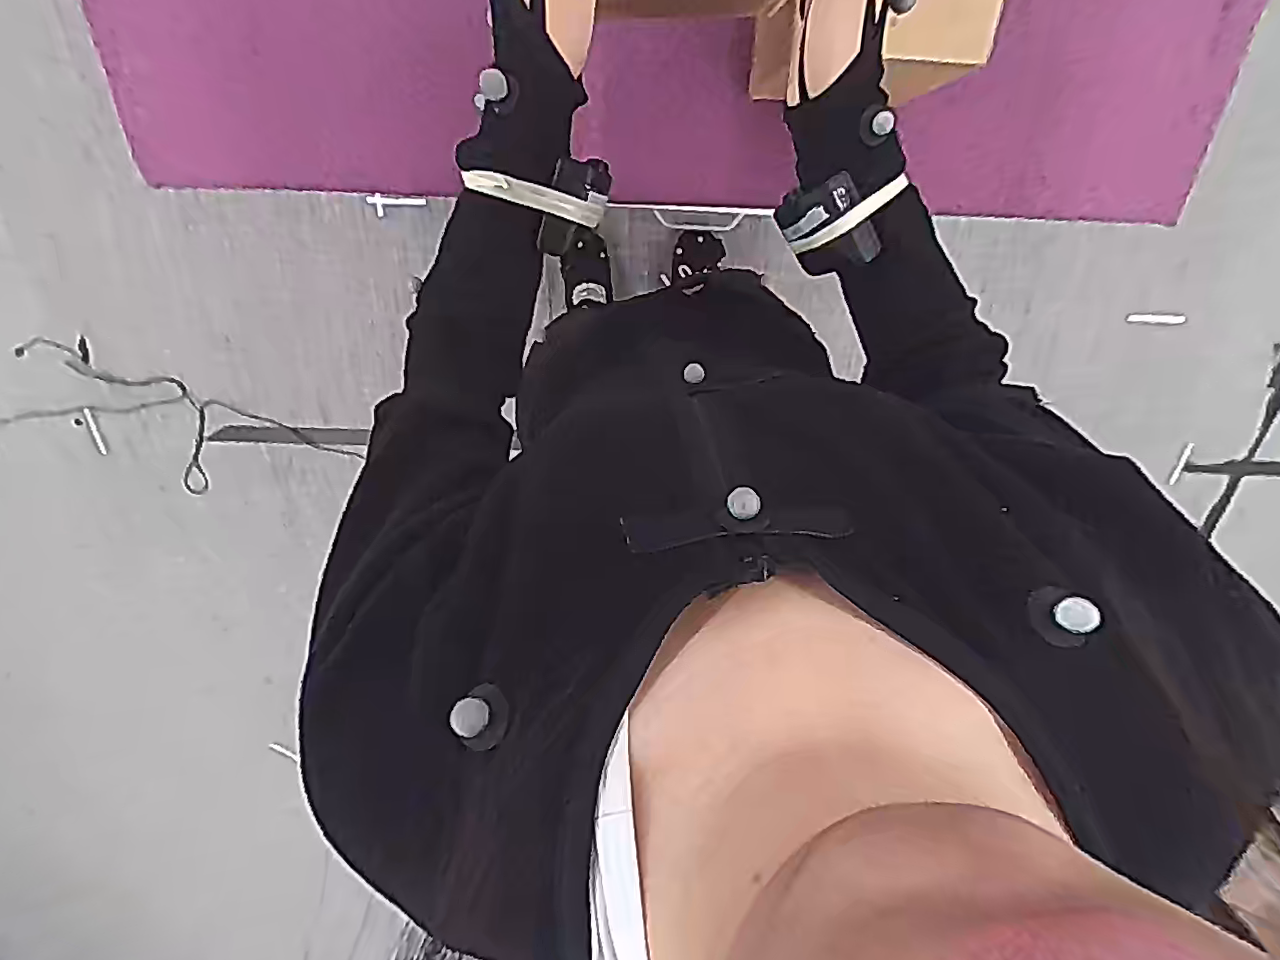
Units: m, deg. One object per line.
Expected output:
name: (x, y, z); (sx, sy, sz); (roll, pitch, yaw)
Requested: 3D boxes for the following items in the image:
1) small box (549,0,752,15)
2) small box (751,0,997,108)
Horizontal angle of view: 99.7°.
small box: (0.020, -0.404, 0.316); (0.179, 0.176, 0.168); (-5, 116, -4)
small box: (0.204, -0.459, 0.483); (0.168, 0.176, 0.179); (3, 115, -3)
